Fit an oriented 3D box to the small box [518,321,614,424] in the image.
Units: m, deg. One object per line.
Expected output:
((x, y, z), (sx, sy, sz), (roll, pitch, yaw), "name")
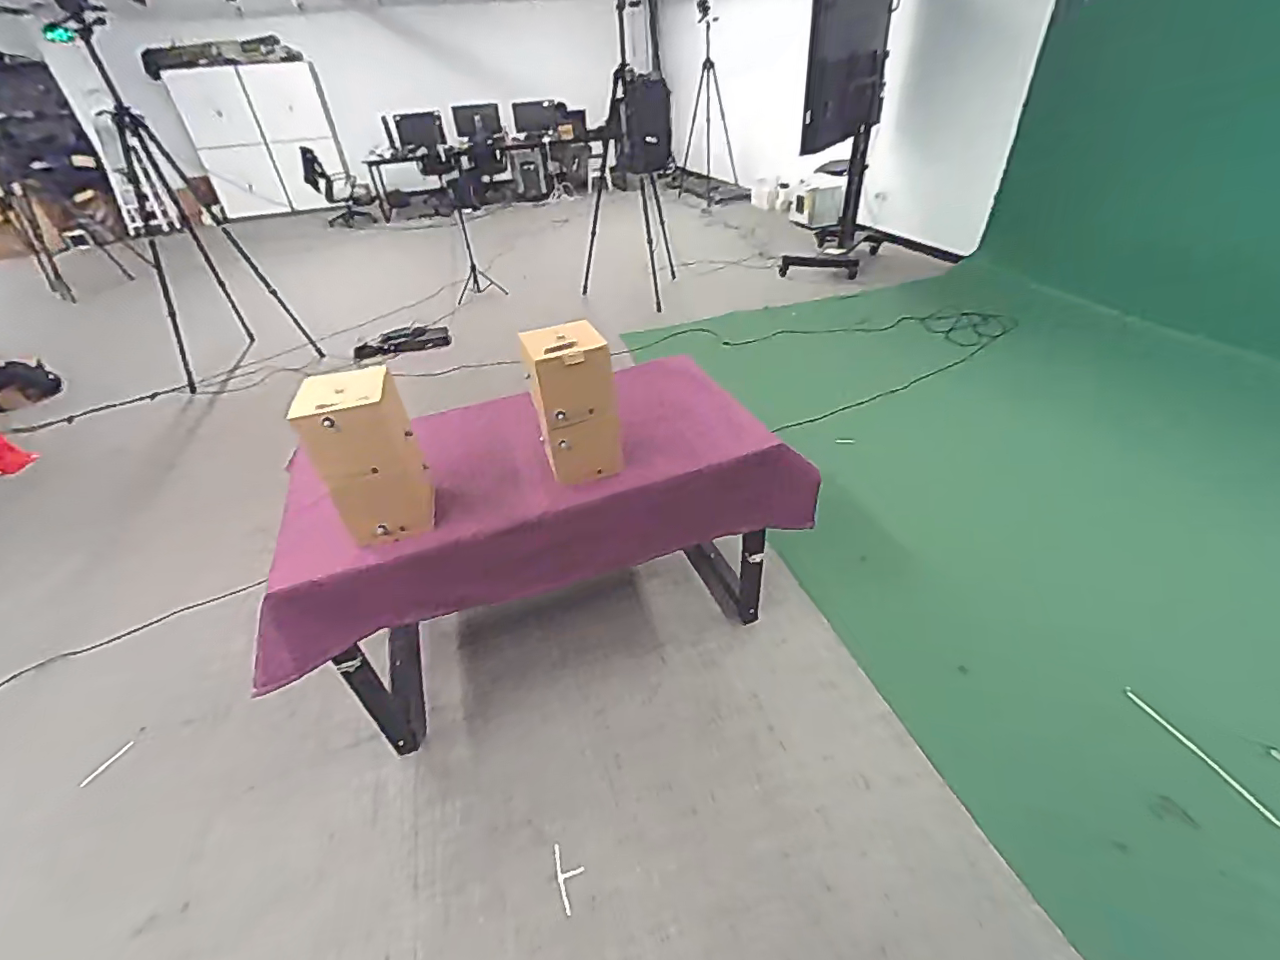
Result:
((-0.167, -0.242, 1.237), (0.168, 0.176, 0.179), (-17, 37, -15), "small box")

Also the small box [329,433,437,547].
((-0.566, 0.022, 1.215), (0.168, 0.176, 0.179), (-14, 39, -10), "small box")

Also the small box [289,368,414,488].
((-0.579, -0.108, 1.114), (0.168, 0.176, 0.179), (-15, 37, -9), "small box")
